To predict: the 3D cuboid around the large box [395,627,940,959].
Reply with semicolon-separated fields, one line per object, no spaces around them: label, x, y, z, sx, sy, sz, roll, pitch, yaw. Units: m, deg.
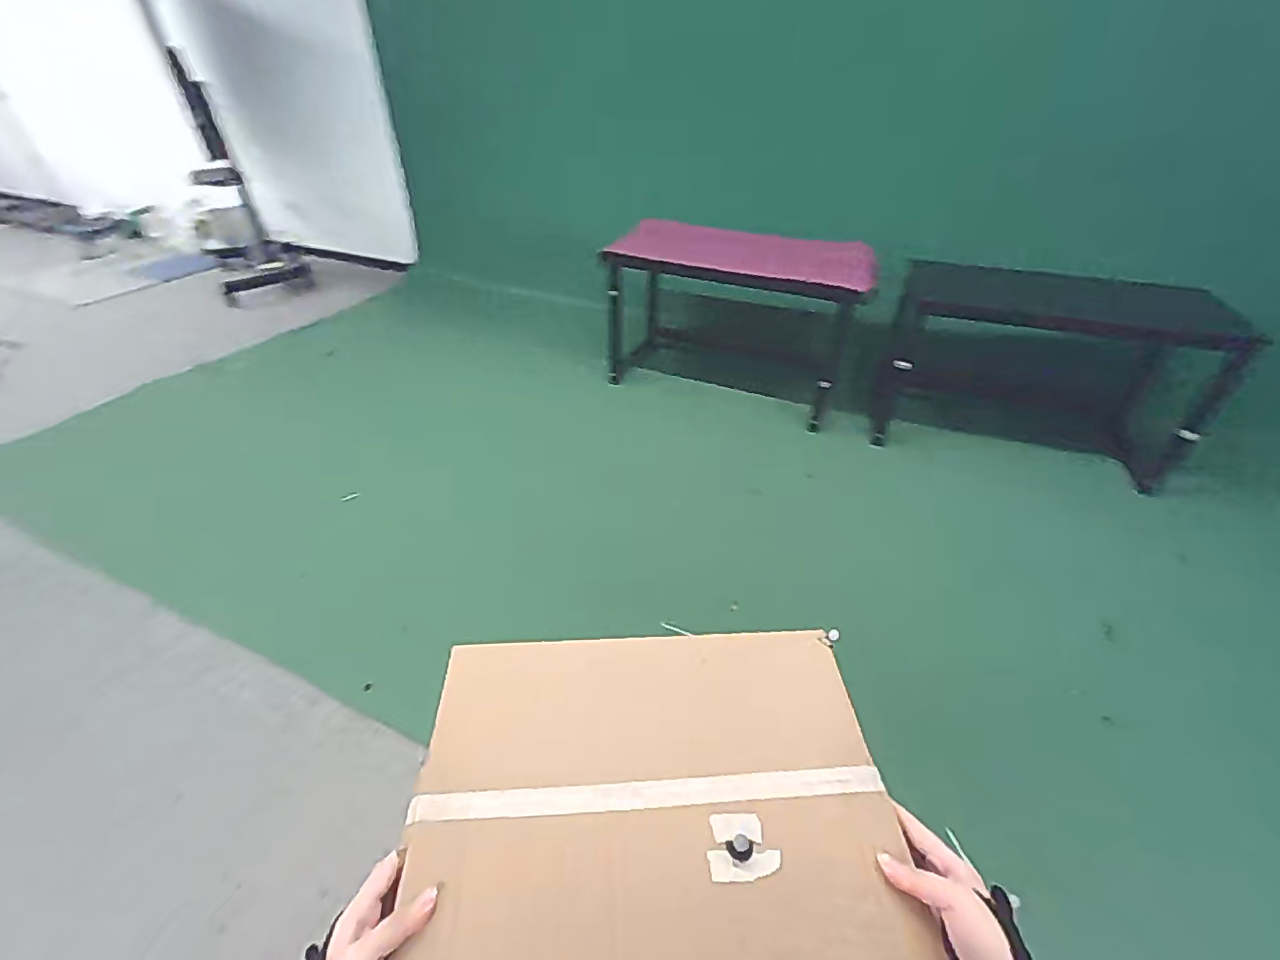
large box;0.004;0.386;0.578;0.408;0.320;0.320;-1;41;-5
